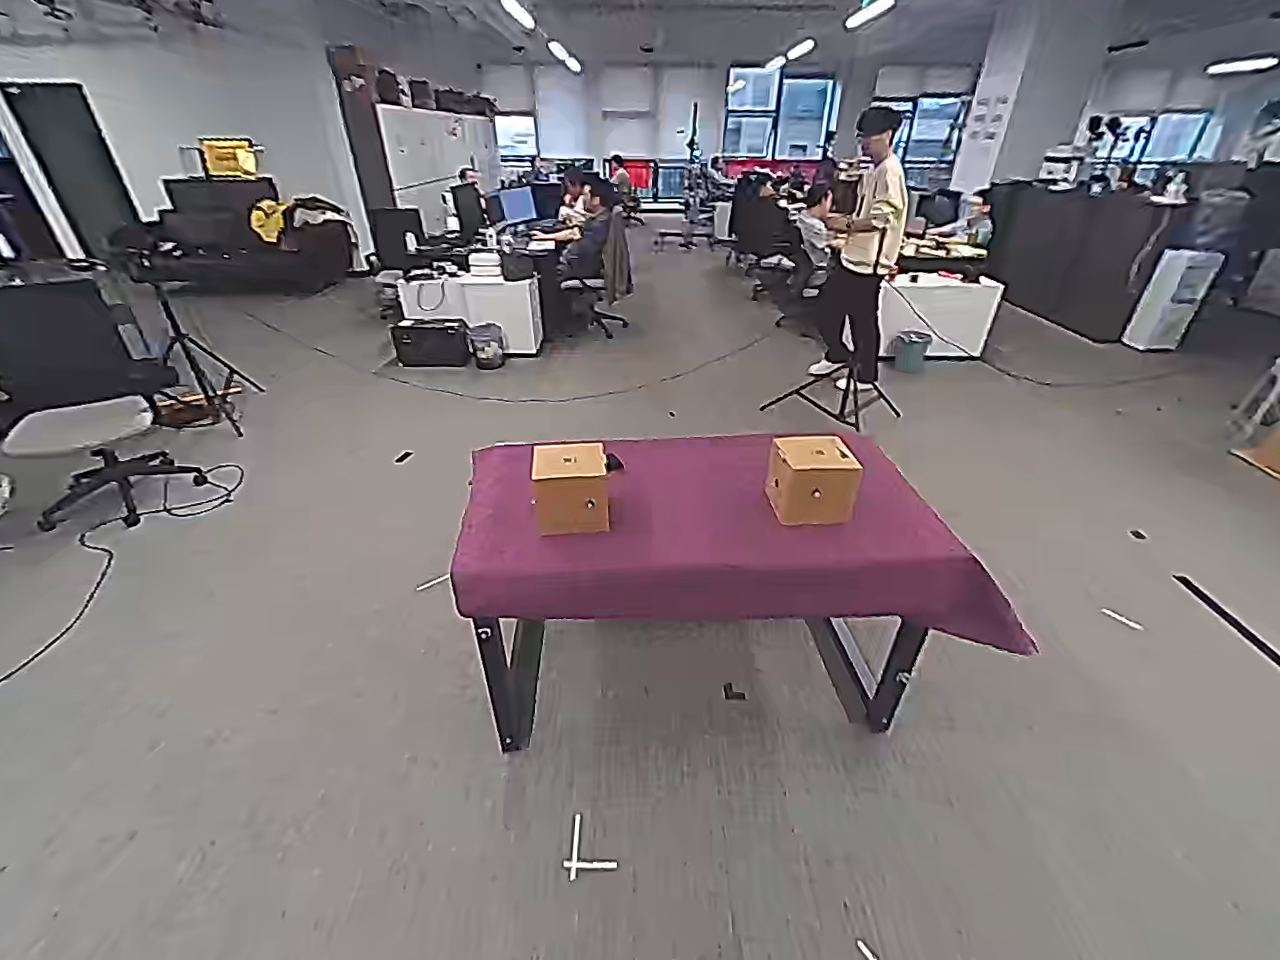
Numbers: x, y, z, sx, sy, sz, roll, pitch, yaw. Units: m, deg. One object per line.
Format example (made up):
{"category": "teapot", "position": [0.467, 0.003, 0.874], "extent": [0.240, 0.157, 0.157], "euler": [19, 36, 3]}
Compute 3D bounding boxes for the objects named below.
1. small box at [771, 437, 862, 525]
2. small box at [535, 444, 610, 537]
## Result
{"category": "small box", "position": [0.443, 0.004, 1.392], "extent": [0.179, 0.176, 0.168], "euler": [-3, 32, -2]}
{"category": "small box", "position": [-0.165, 0.026, 1.359], "extent": [0.179, 0.176, 0.168], "euler": [-4, 31, -6]}
